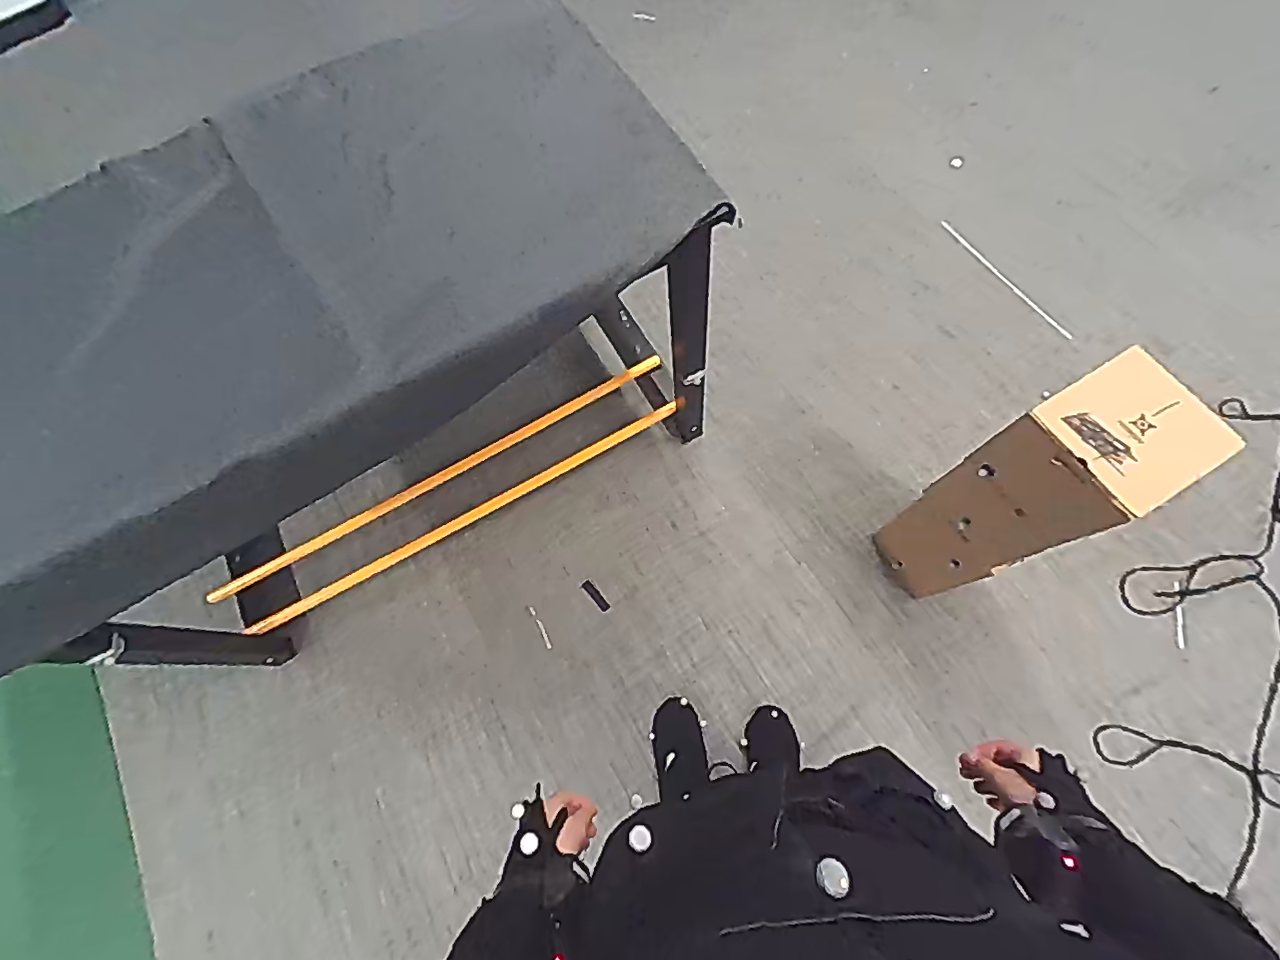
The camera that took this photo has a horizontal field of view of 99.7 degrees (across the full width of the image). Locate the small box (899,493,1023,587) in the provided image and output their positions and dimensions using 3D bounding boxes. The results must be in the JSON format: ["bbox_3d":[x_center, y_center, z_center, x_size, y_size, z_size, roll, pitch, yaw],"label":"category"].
[{"bbox_3d":[0.632,0.088,1.019,0.168,0.176,0.179,-29,69,-6],"label":"small box"}]

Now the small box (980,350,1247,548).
[{"bbox_3d":[0.593,-0.030,0.714,0.179,0.176,0.168,-30,71,-7],"label":"small box"}]

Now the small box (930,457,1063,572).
[{"bbox_3d":[0.614,0.027,0.868,0.179,0.176,0.168,-28,70,-5],"label":"small box"}]

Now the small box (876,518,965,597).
[{"bbox_3d":[0.651,0.142,1.171,0.168,0.176,0.179,-26,72,-5],"label":"small box"}]
